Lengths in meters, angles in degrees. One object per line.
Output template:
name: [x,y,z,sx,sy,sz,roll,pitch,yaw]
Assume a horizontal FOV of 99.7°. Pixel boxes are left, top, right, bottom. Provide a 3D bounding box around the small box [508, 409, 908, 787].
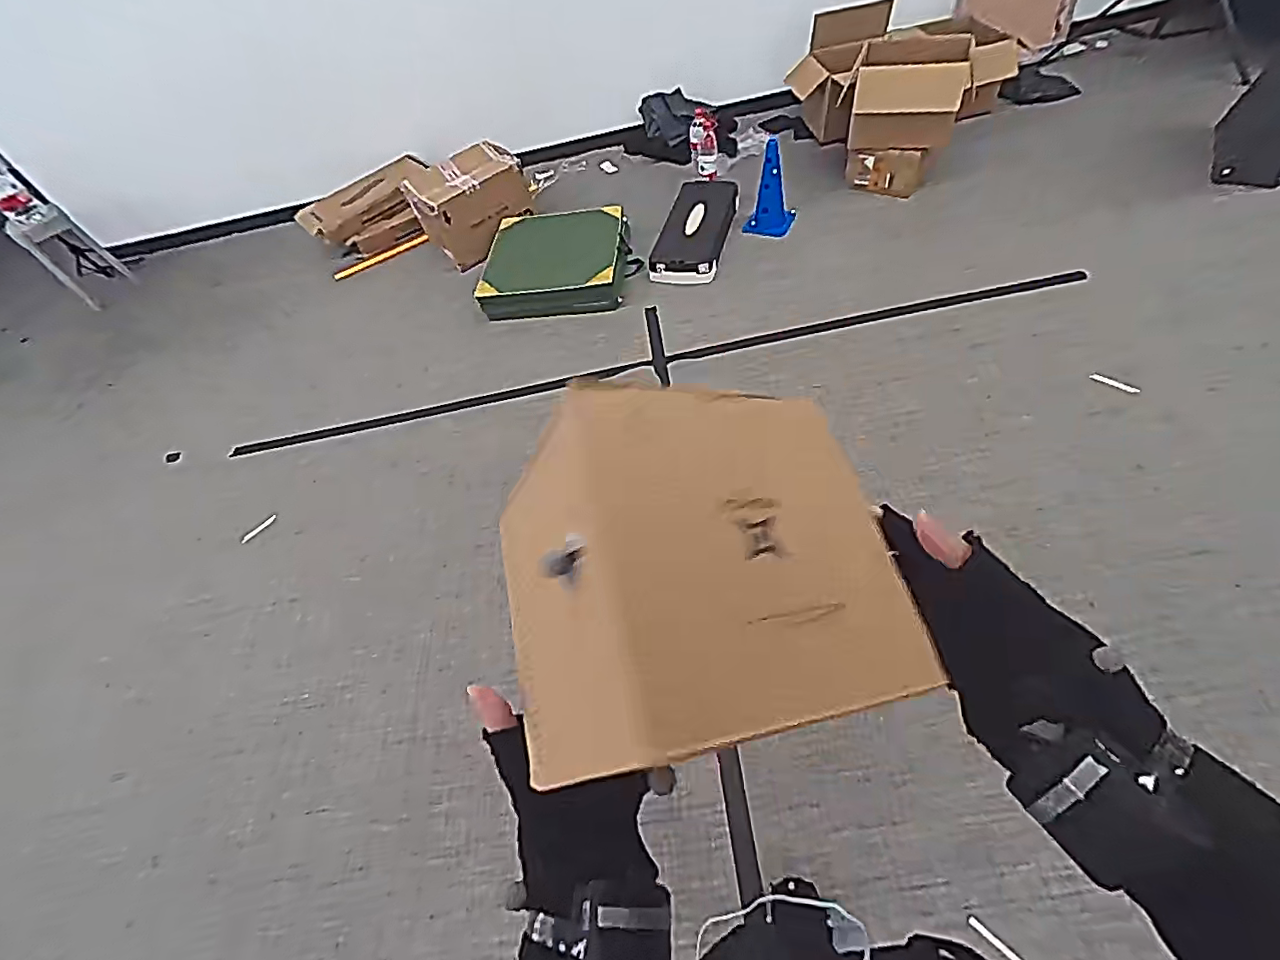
small box: [0.016,0.076,0.342,0.168,0.176,0.179,-1,61,-23]
